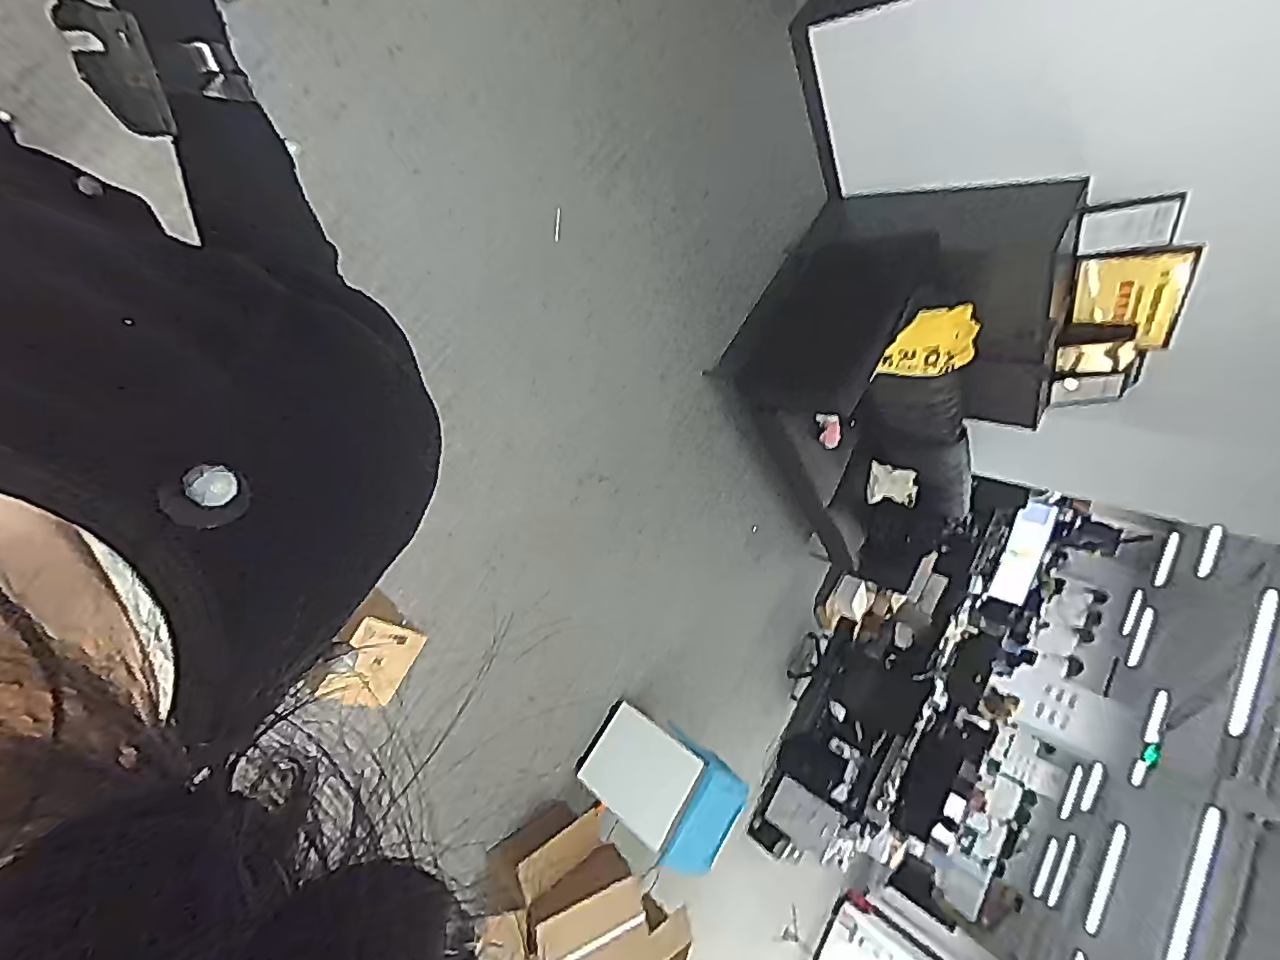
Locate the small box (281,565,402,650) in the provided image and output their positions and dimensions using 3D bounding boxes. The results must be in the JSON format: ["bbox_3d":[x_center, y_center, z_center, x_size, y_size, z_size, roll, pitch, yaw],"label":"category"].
[{"bbox_3d":[-0.721,0.330,1.301,0.179,0.176,0.168,-58,137,-14],"label":"small box"}]

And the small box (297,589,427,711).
[{"bbox_3d":[-0.613,0.369,1.183,0.179,0.176,0.168,-59,138,-12],"label":"small box"}]
